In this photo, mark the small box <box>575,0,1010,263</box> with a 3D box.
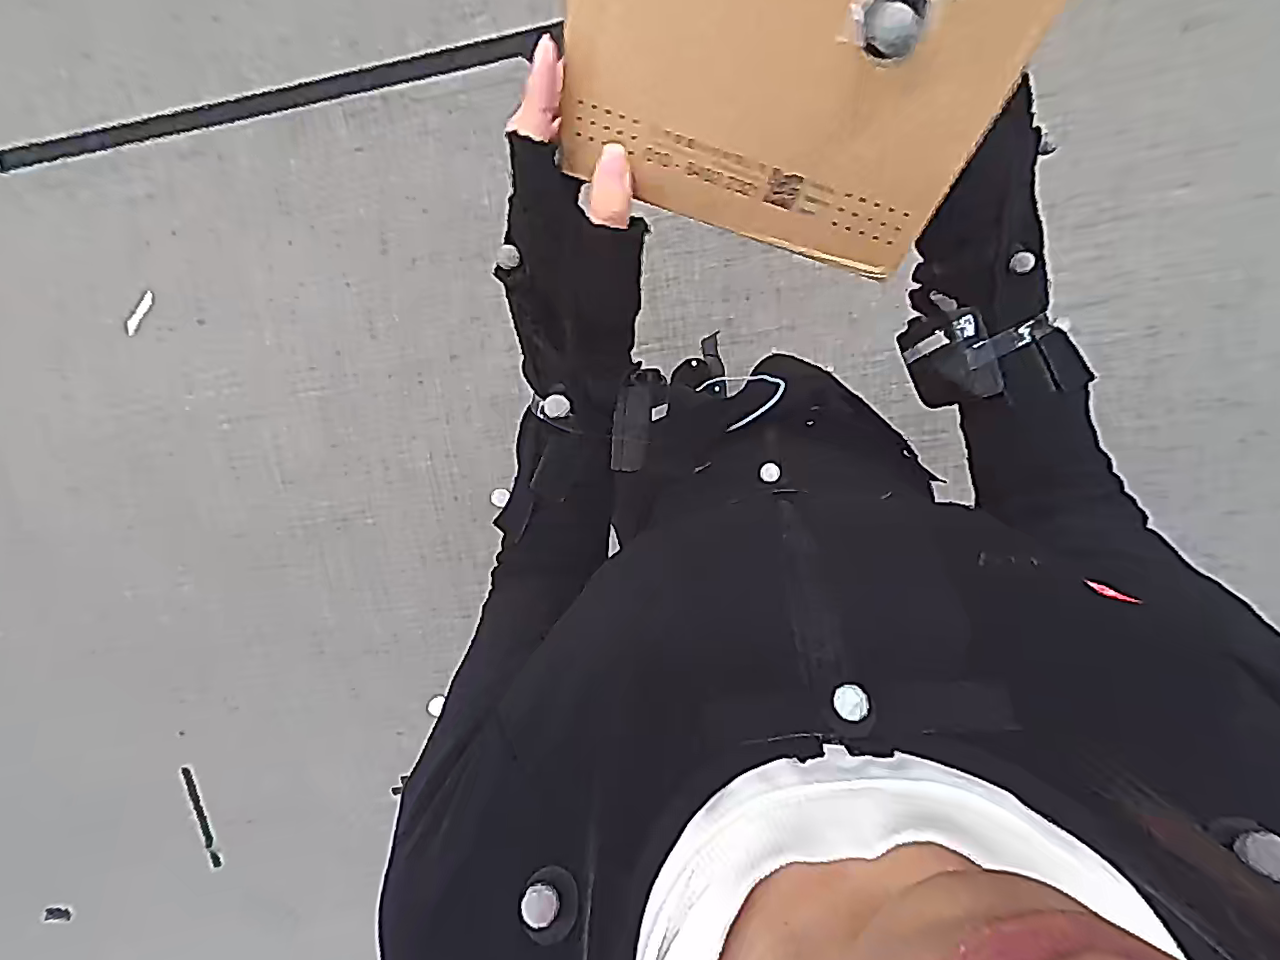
[{"bbox_3d":[0.076,-0.235,0.255,0.168,0.179,0.176,22,144,5],"label":"small box"}]
